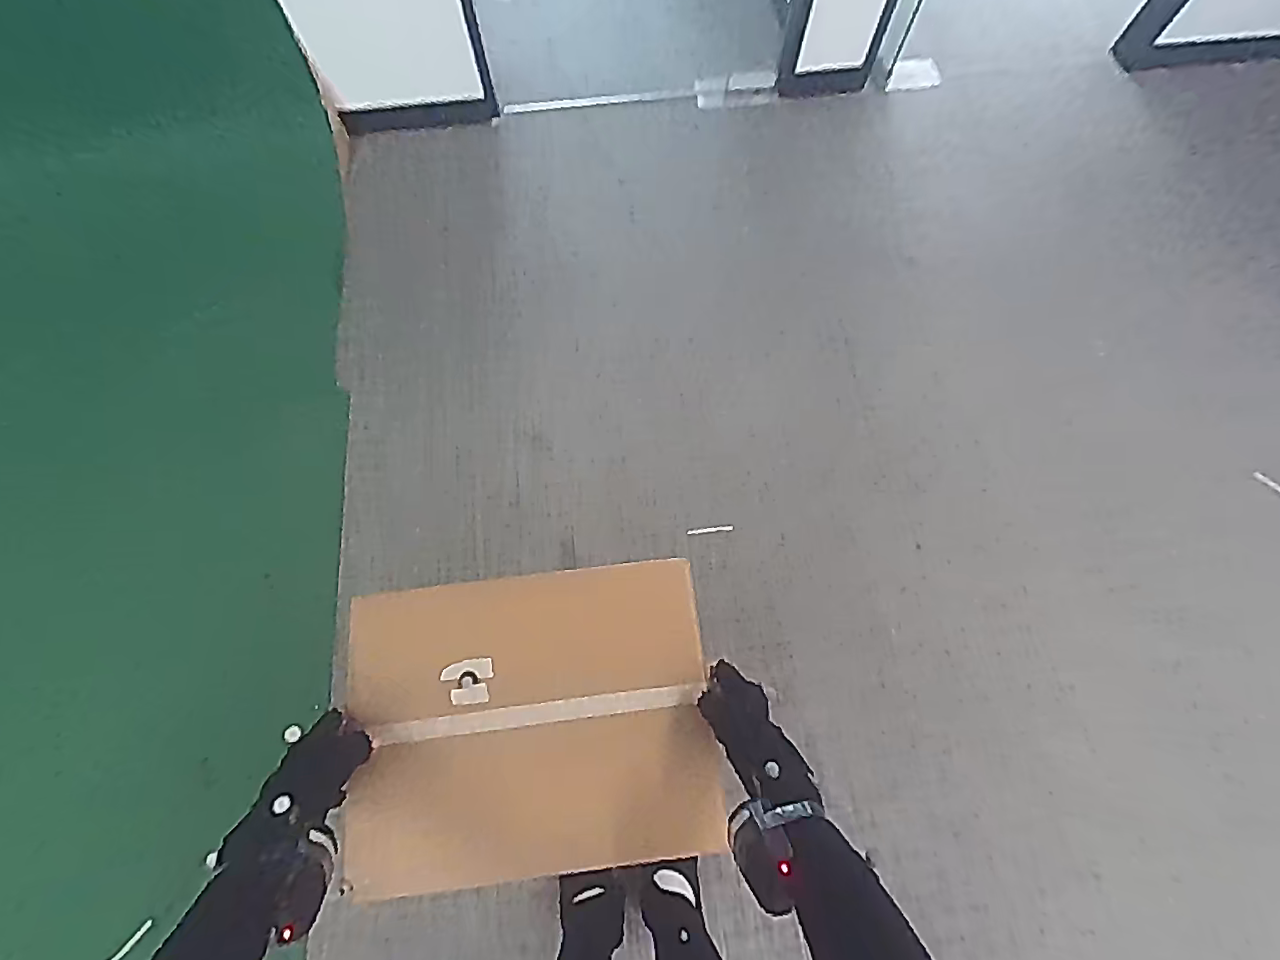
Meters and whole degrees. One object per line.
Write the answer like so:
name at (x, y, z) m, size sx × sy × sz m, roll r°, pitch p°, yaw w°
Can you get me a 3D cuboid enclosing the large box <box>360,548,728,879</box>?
large box at (-0.116, 0.294, 0.762) m, size 0.408 × 0.320 × 0.320 m, roll -6°, pitch 73°, yaw -2°
